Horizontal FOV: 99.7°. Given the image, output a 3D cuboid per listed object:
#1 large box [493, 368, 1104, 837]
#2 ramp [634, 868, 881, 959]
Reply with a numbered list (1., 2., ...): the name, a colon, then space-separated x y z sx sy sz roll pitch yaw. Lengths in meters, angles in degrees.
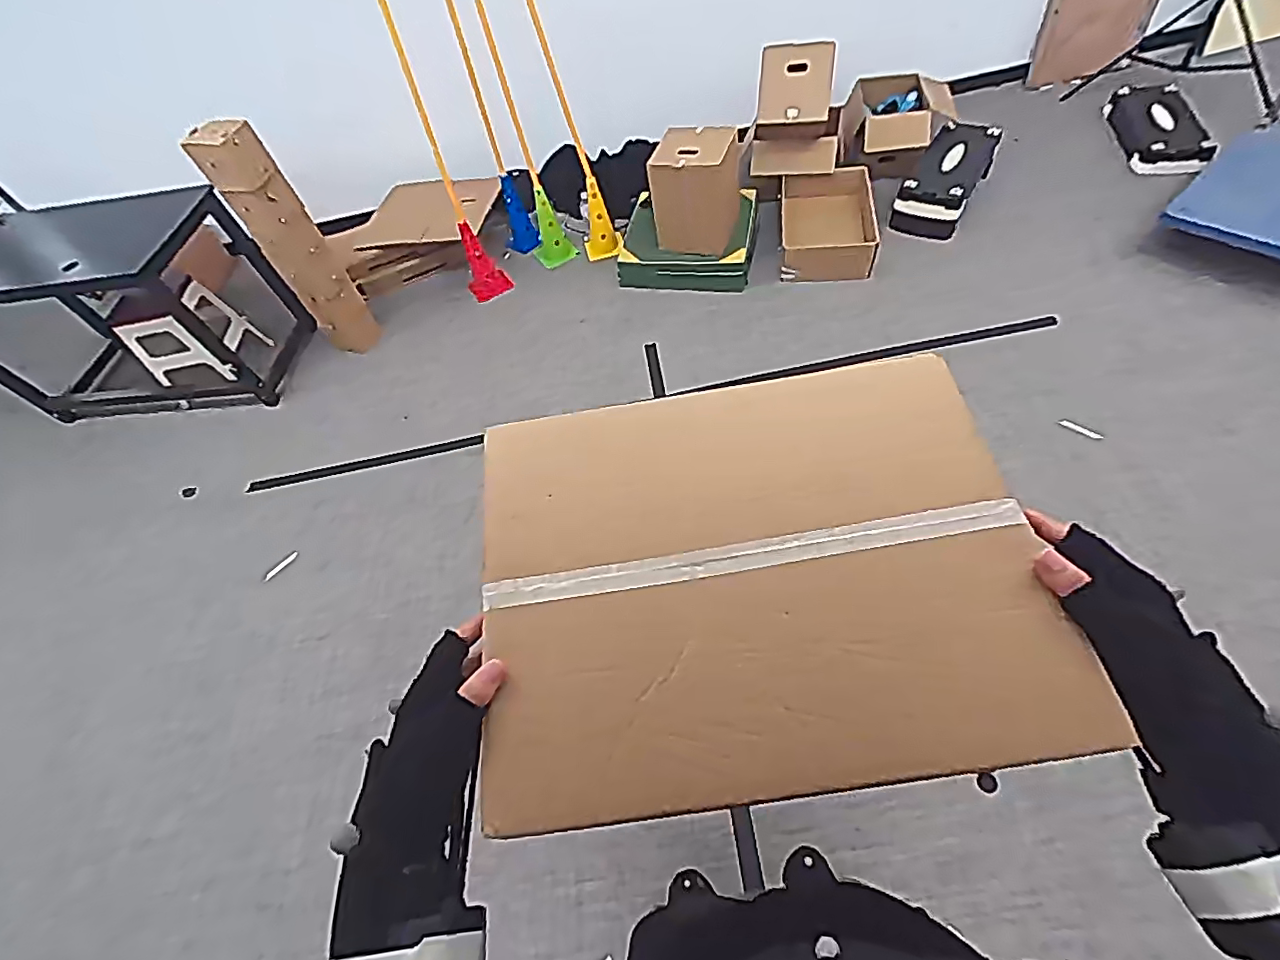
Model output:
1. large box: 0.098 0.131 0.546 0.408 0.320 0.320 -9 61 1
2. ramp: 0.301 1.322 0.958 0.509 0.206 0.991 -11 56 0
